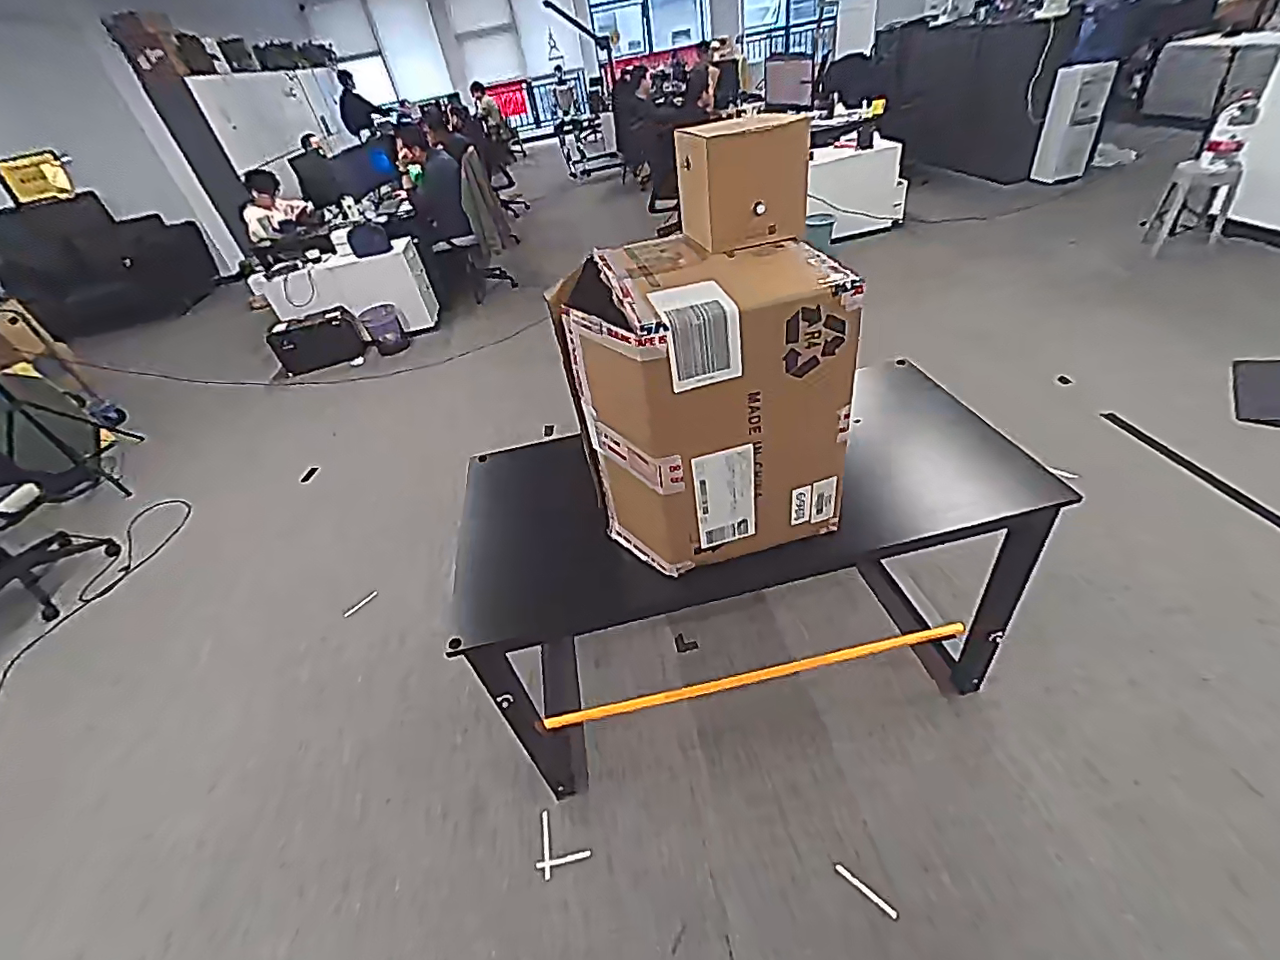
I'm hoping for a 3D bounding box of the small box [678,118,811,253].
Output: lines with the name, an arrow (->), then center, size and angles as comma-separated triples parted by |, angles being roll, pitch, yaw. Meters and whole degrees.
small box -> 0.170, -0.499, 0.915 | 0.168, 0.176, 0.179 | -14, 37, -5
